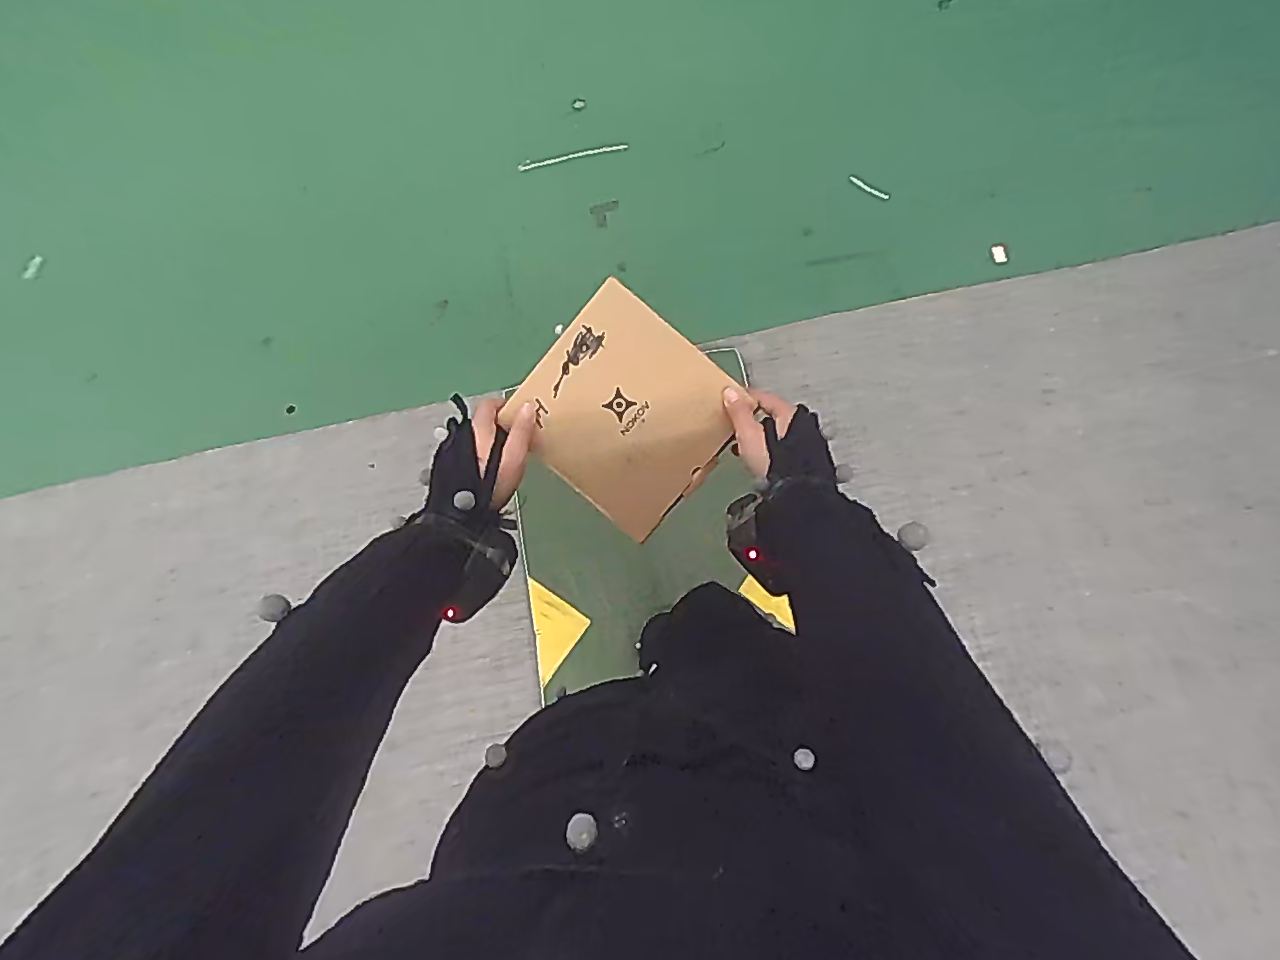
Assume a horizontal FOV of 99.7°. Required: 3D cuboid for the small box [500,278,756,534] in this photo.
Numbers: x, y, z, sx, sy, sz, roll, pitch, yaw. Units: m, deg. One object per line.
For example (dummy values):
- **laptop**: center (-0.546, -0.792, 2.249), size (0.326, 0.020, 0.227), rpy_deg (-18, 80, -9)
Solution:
- **small box**: center (-0.008, -0.072, 0.565), size (0.179, 0.176, 0.168), rpy_deg (41, 94, -1)
